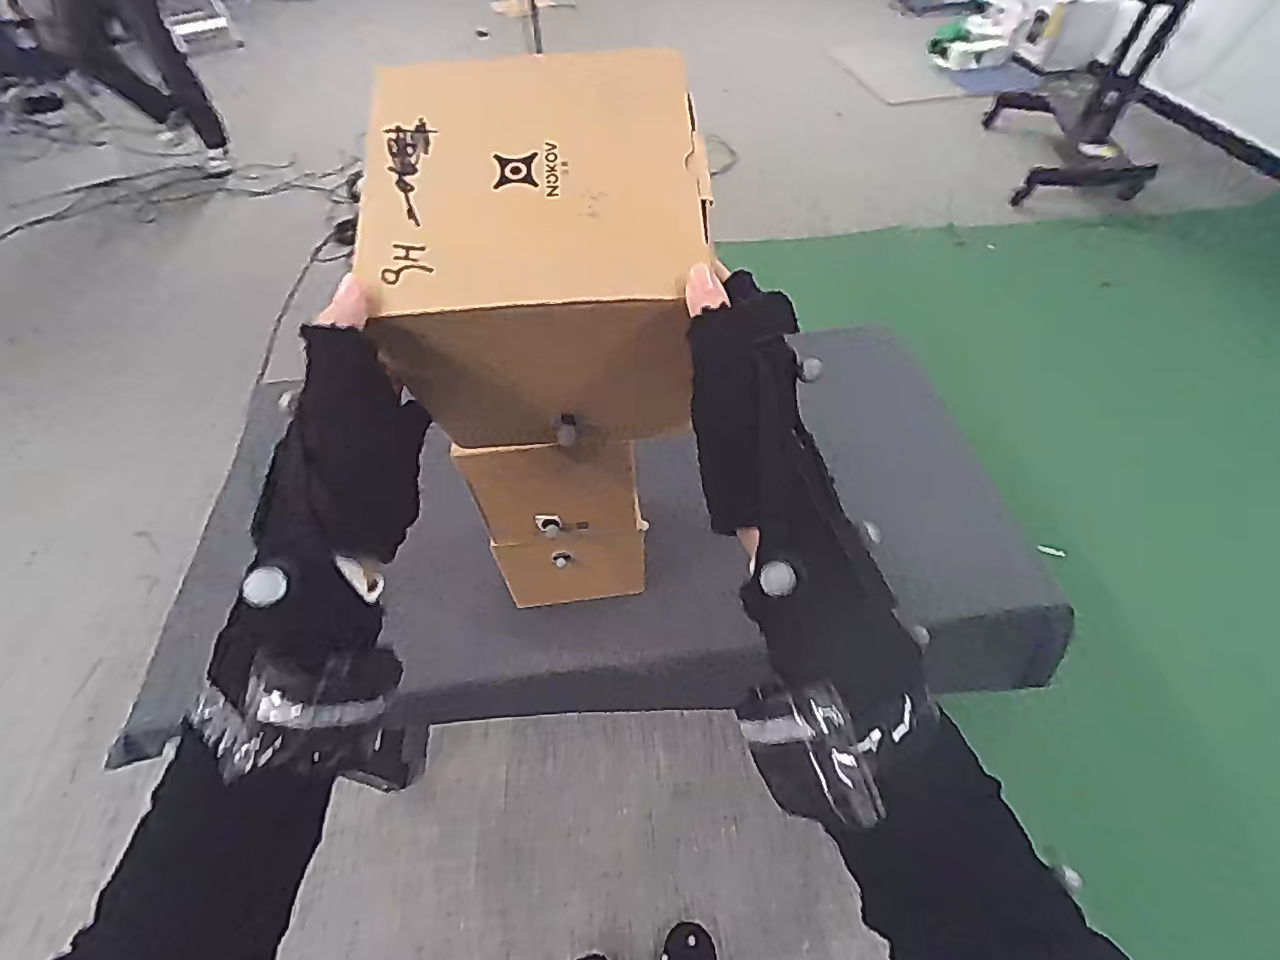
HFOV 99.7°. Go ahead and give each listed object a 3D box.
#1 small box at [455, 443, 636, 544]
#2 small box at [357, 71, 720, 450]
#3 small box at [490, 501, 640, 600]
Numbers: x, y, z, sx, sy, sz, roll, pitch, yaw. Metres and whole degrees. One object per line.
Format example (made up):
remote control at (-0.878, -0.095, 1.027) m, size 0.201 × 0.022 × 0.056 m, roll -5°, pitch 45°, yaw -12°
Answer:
small box at (-0.096, -0.050, 0.609) m, size 0.168 × 0.176 × 0.179 m, roll -7°, pitch 54°, yaw -3°
small box at (-0.054, -0.126, 0.358) m, size 0.179 × 0.176 × 0.168 m, roll -3°, pitch 71°, yaw -3°
small box at (-0.096, 0.050, 0.737) m, size 0.179 × 0.176 × 0.168 m, roll -6°, pitch 53°, yaw -5°
